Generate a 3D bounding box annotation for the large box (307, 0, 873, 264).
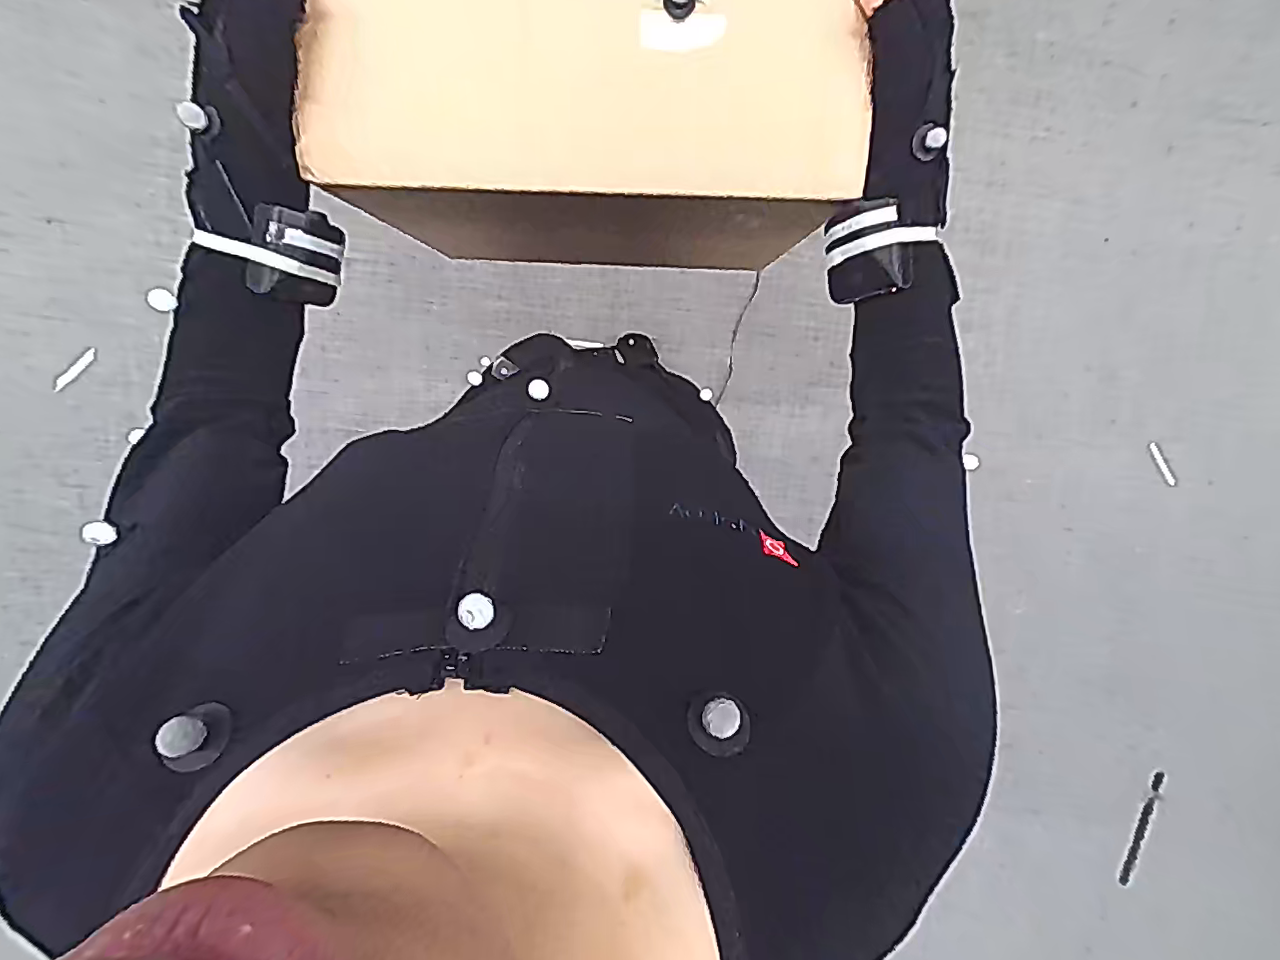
[{"bbox_3d":[-0.036,-0.399,0.518,0.408,0.320,0.320,1,102,-1],"label":"large box"}]
